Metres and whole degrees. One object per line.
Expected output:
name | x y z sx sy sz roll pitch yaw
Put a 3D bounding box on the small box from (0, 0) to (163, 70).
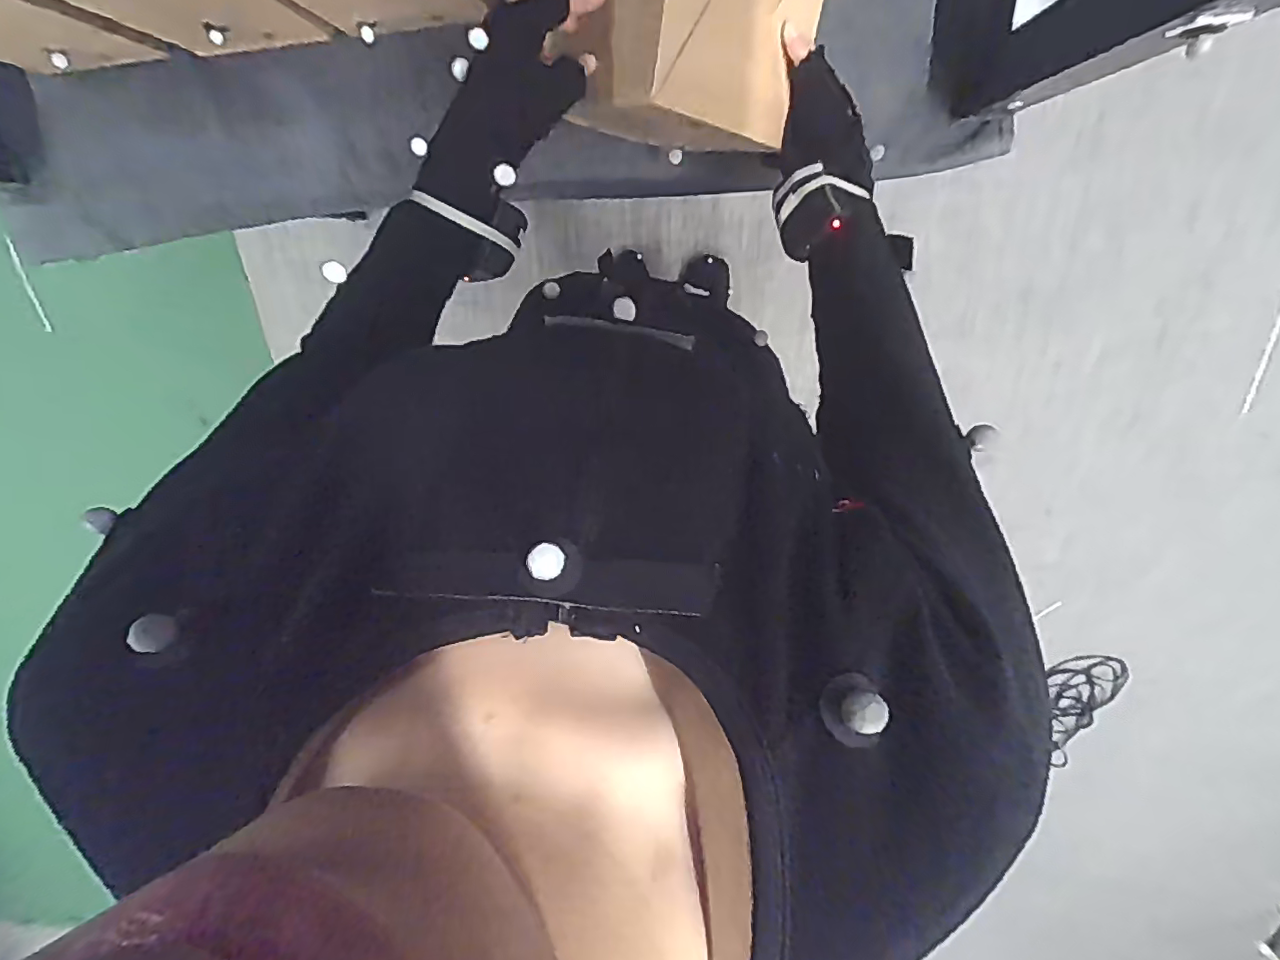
small box | -0.614 -0.516 0.500 0.168 0.176 0.179 -2 113 7
